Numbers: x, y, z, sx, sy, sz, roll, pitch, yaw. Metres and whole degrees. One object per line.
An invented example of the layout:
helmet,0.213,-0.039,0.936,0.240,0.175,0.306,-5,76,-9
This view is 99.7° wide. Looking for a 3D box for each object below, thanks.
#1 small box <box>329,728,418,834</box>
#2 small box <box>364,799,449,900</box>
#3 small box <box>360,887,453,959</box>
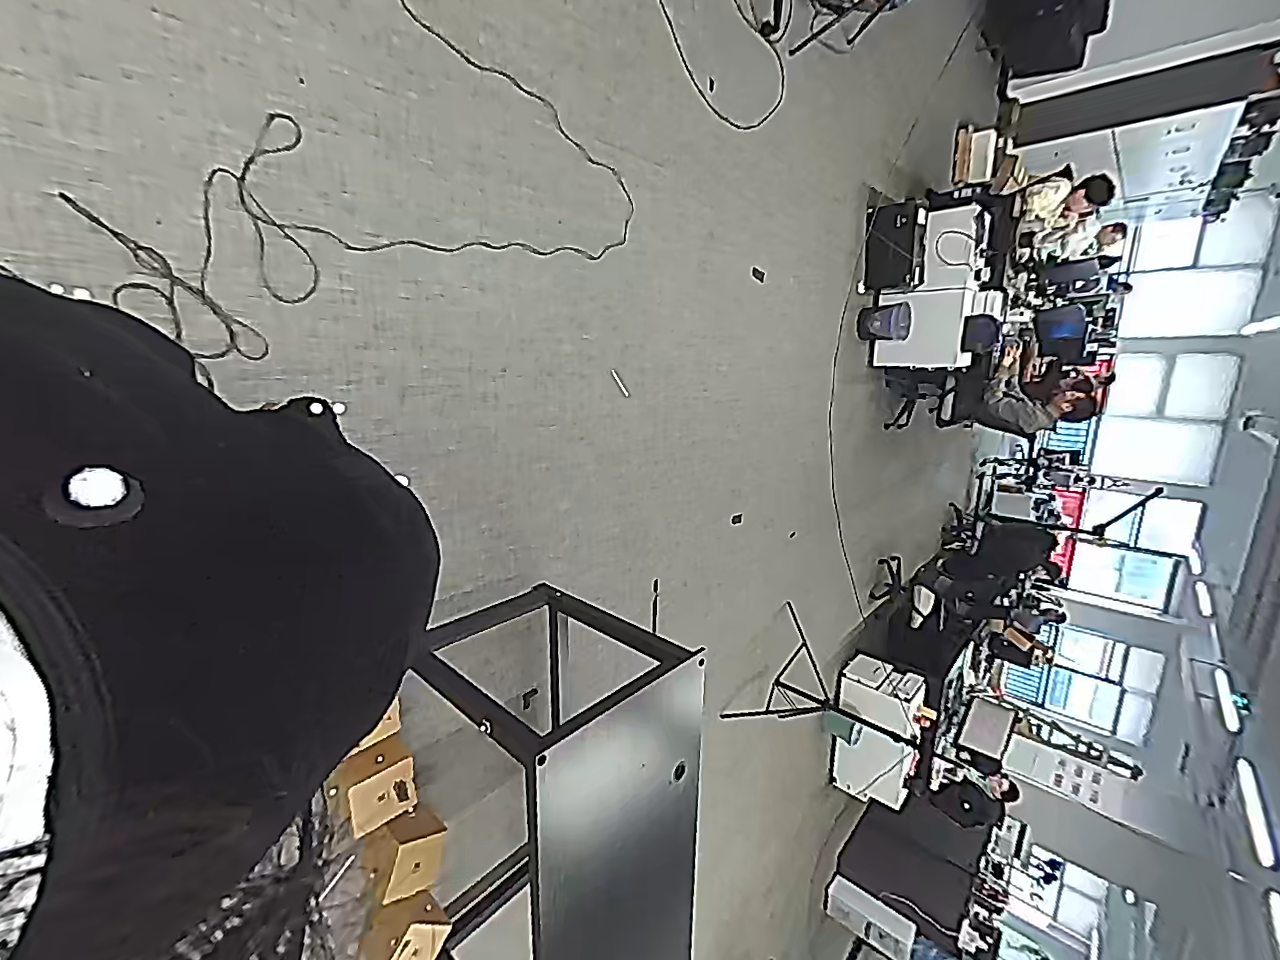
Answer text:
small box,-0.769,0.858,1.562,0.179,0.176,0.168,-14,109,-45
small box,-0.729,1.134,1.675,0.168,0.176,0.179,18,84,-50
small box,-0.745,1.433,1.724,0.179,0.176,0.168,49,63,-43
